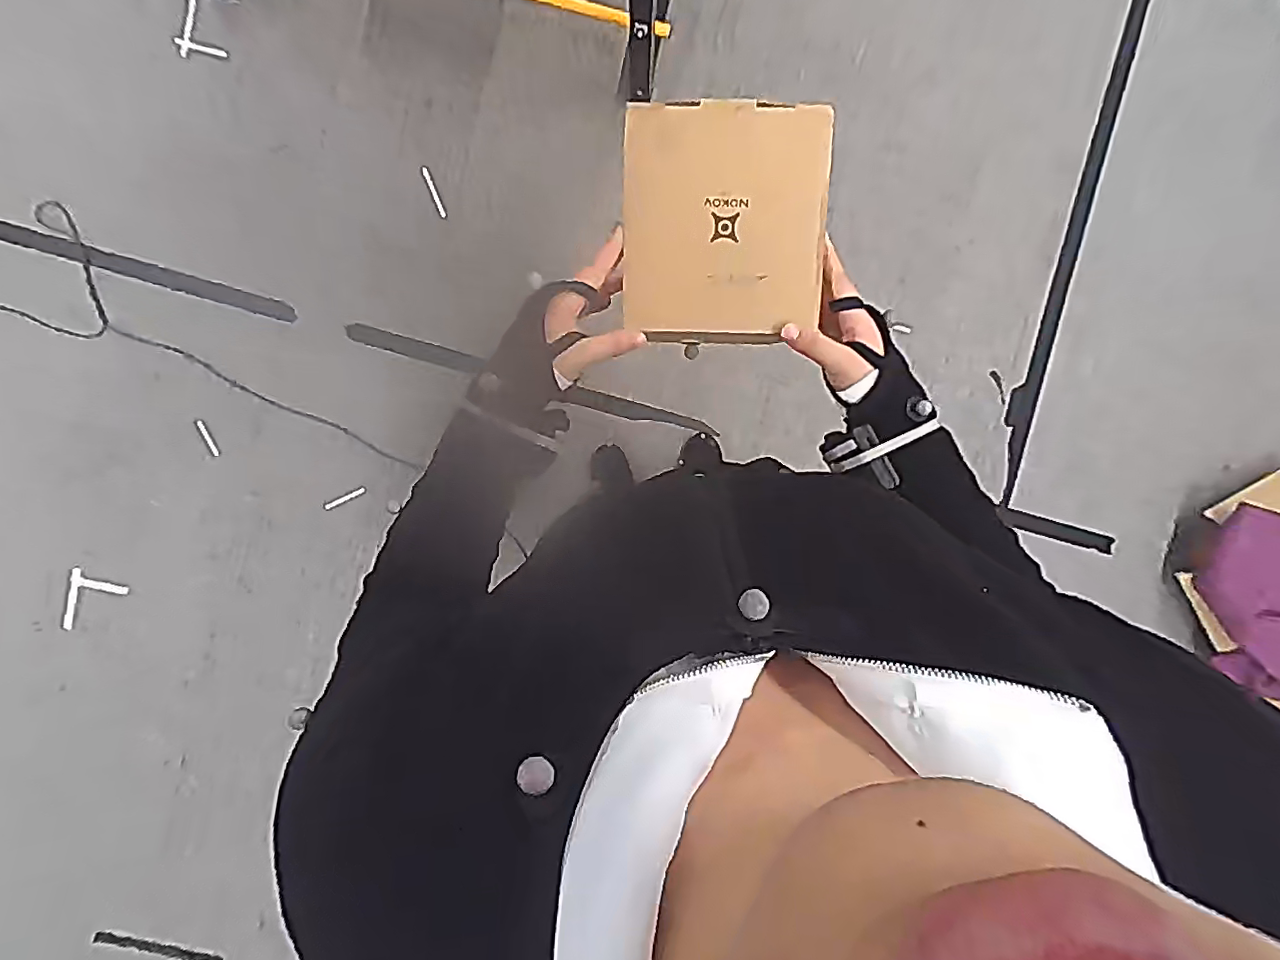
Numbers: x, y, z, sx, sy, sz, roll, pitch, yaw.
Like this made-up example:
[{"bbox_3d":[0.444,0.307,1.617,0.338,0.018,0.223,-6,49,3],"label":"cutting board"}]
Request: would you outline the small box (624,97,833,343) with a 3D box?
[{"bbox_3d":[0.069,-0.228,0.518,0.168,0.176,0.179,1,102,0],"label":"small box"}]
